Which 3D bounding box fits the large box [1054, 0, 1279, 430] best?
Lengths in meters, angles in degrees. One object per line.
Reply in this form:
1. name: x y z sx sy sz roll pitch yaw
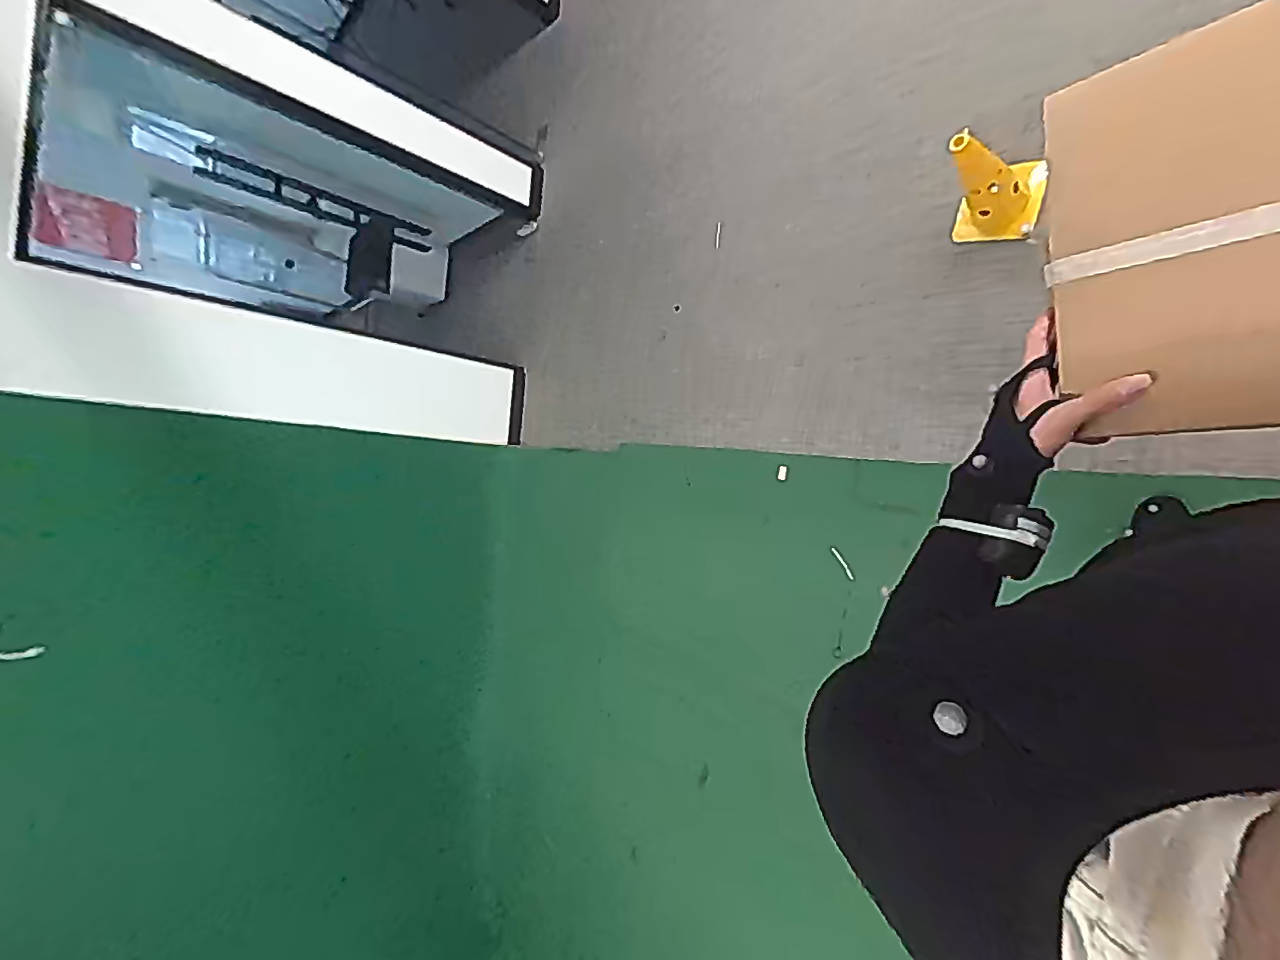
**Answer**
1. large box: 0.640 -0.224 0.461 0.408 0.320 0.320 -3 95 47
